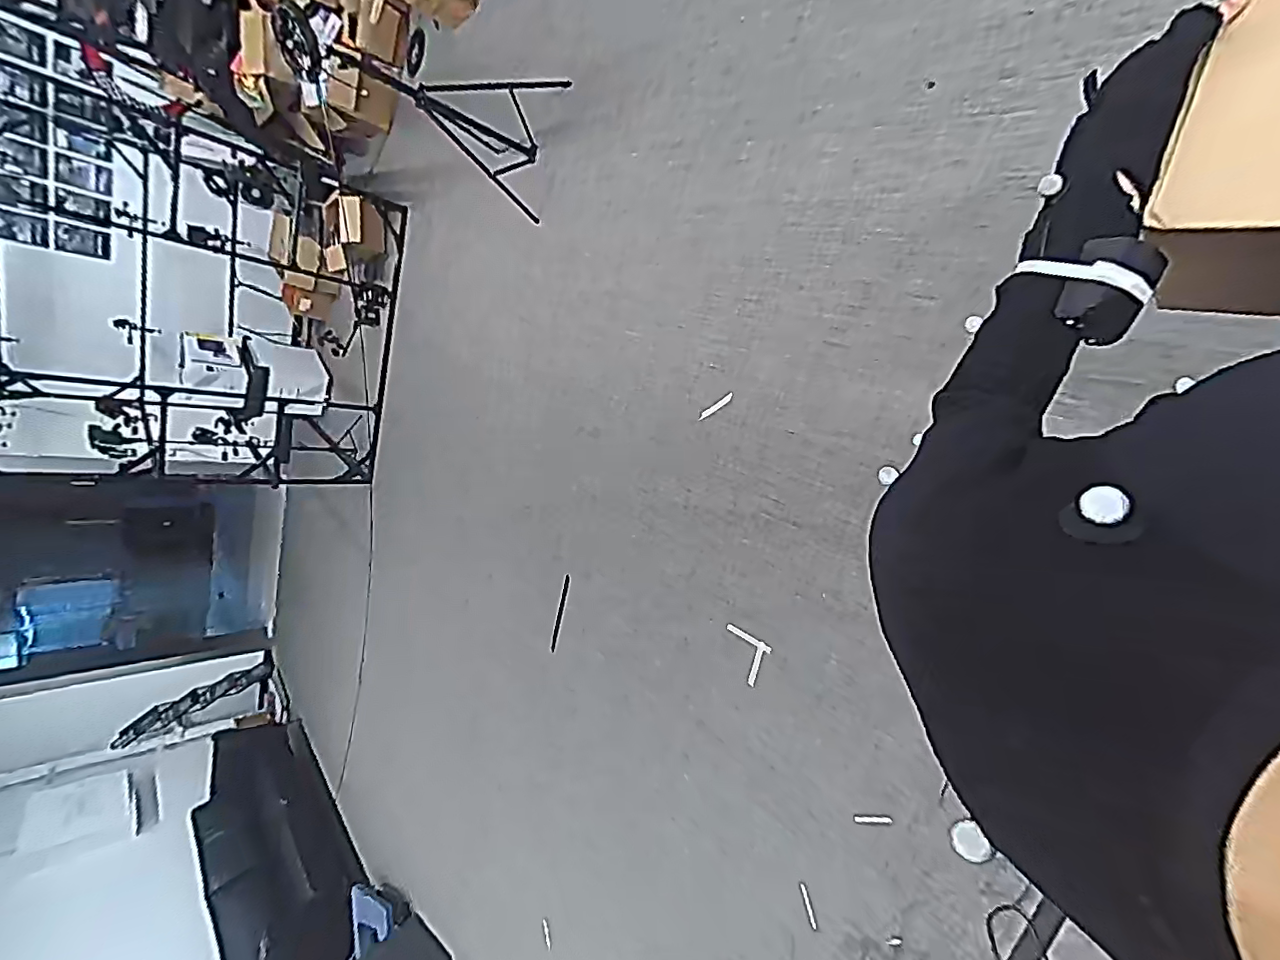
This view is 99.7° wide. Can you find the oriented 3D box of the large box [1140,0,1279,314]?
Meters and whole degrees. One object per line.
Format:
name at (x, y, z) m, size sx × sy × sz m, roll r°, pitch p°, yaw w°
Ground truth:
large box at (0.644, -0.289, 0.356) m, size 0.408 × 0.320 × 0.320 m, roll 22°, pitch 108°, yaw 42°
